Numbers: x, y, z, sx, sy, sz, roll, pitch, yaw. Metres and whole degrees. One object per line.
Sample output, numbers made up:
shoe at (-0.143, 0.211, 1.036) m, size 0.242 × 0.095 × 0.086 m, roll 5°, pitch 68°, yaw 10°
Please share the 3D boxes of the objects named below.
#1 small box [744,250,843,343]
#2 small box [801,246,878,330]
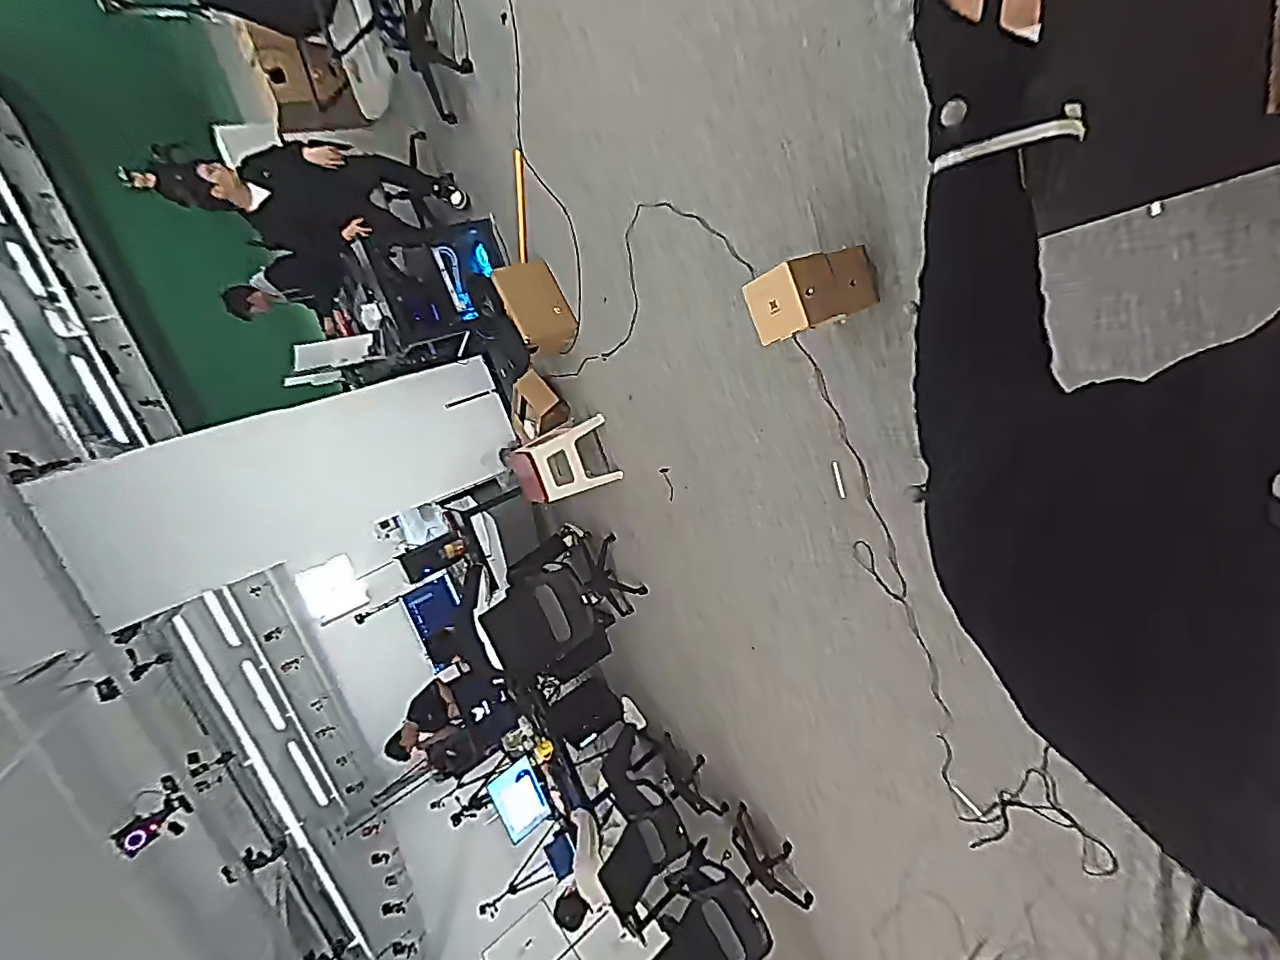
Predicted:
small box at (0.418, -0.495, 1.460) m, size 0.168 × 0.176 × 0.179 m, roll -12°, pitch 101°, yaw 57°
small box at (0.546, -0.551, 1.543) m, size 0.168 × 0.176 × 0.179 m, roll -5°, pitch 108°, yaw 58°
